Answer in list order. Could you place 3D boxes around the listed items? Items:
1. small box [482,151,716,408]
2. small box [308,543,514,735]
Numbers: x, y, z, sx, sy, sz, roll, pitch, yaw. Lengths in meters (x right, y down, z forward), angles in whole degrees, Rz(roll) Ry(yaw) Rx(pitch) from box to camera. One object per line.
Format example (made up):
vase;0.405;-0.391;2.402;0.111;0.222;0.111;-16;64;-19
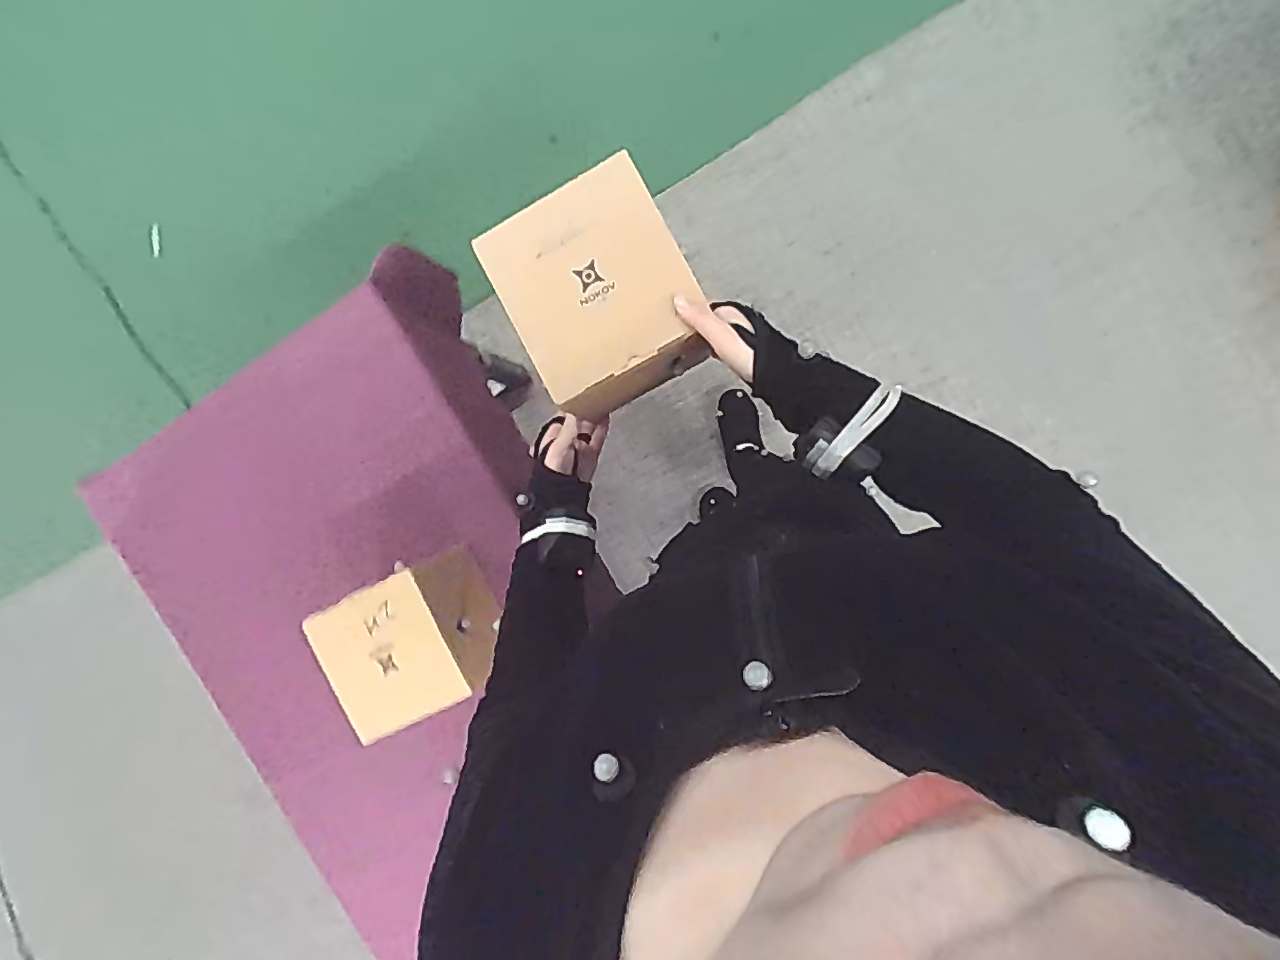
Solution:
small box;-0.030;-0.187;0.570;0.168;0.176;0.179;-26;88;6
small box;-0.302;0.209;0.753;0.168;0.176;0.179;-27;90;8
